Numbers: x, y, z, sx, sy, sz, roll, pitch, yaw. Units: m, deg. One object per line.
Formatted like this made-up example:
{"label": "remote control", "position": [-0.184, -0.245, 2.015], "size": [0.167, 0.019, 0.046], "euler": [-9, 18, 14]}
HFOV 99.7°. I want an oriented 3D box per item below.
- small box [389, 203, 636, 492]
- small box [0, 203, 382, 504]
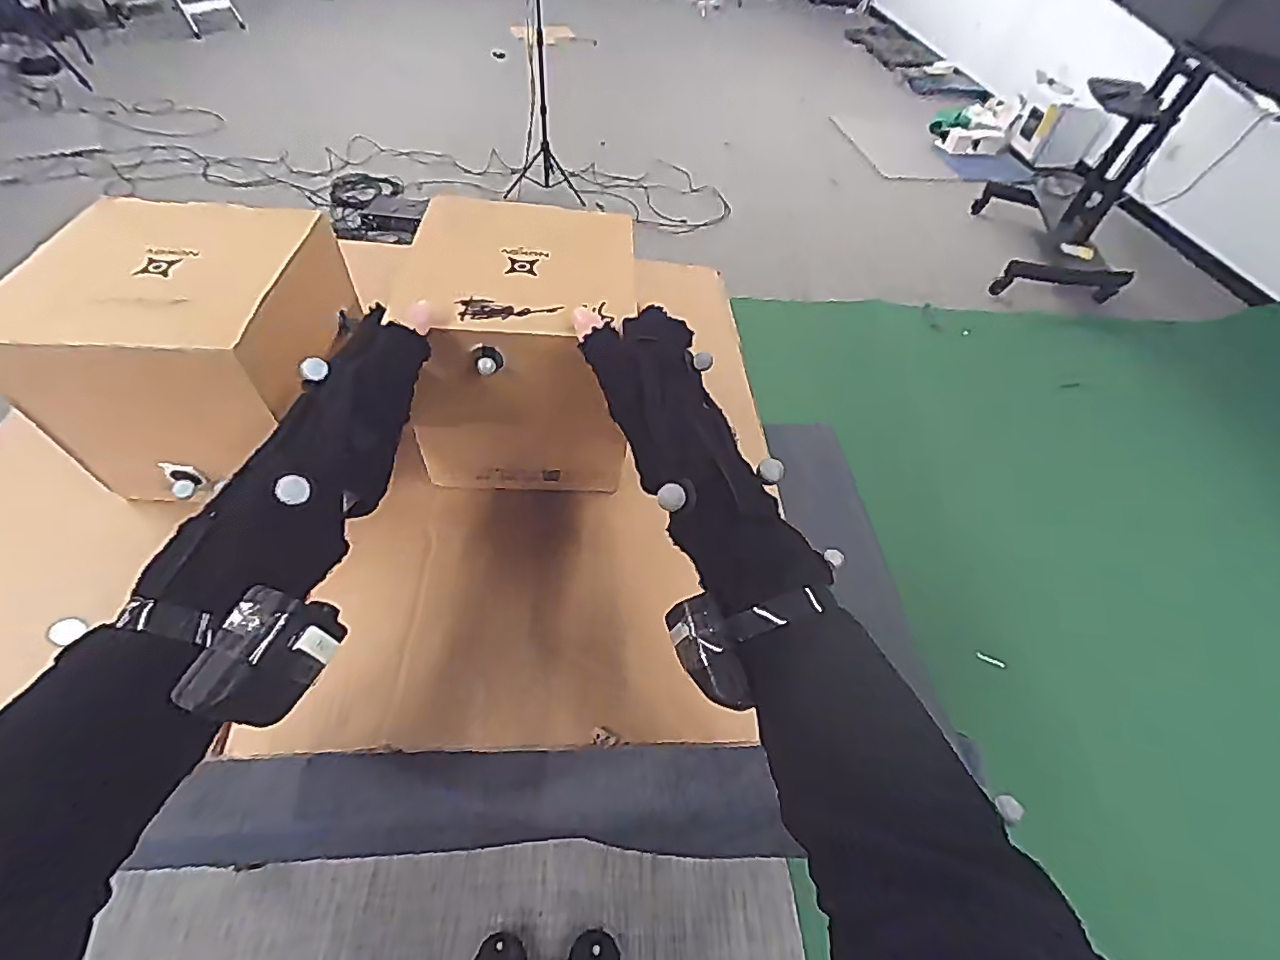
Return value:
{"label": "small box", "position": [-0.094, -0.111, 0.472], "size": [0.168, 0.176, 0.179], "euler": [3, 51, -5]}
{"label": "small box", "position": [-0.333, -0.099, 0.446], "size": [0.168, 0.176, 0.179], "euler": [0, 54, -5]}
